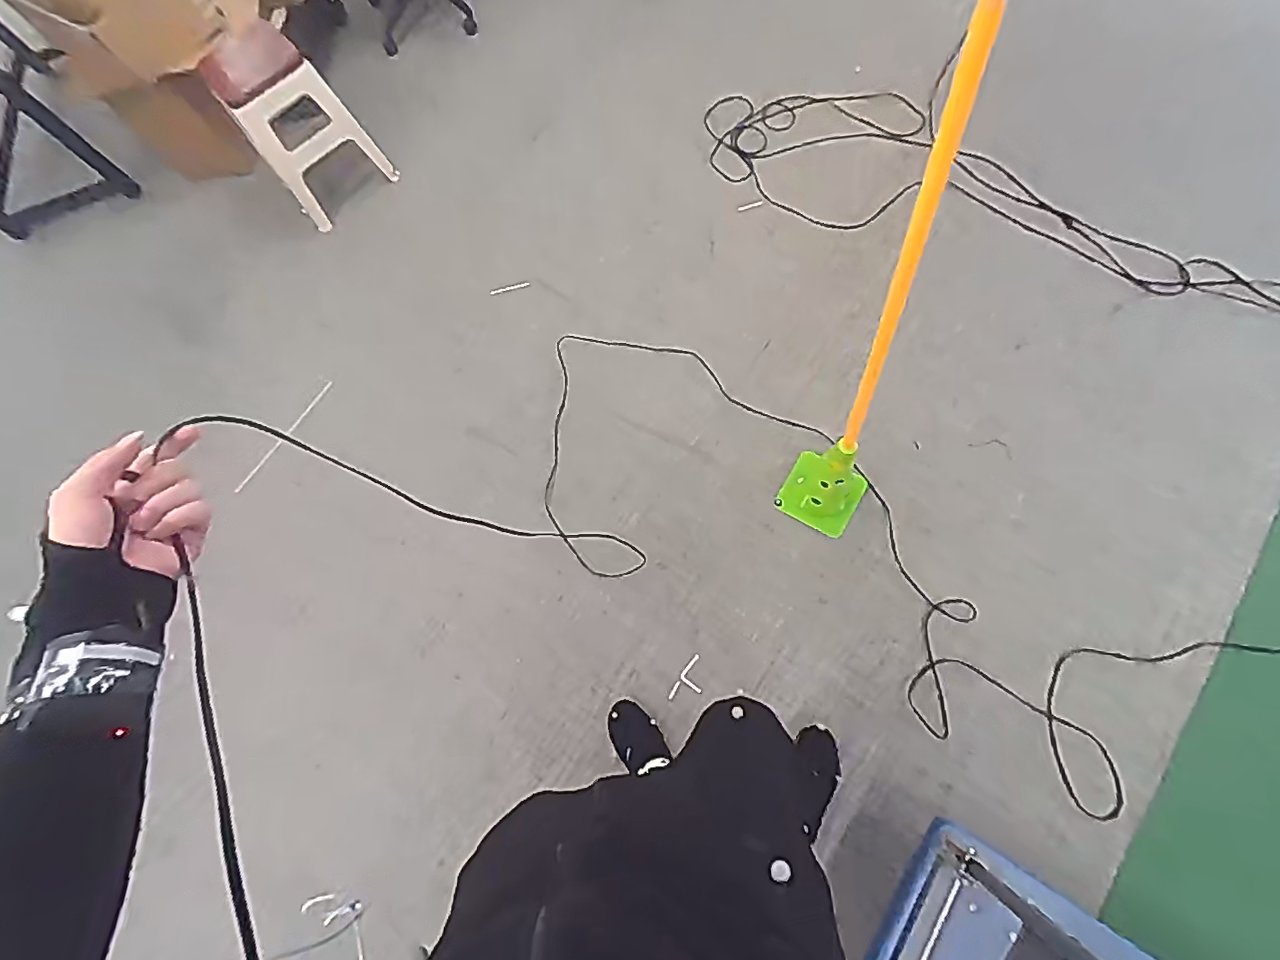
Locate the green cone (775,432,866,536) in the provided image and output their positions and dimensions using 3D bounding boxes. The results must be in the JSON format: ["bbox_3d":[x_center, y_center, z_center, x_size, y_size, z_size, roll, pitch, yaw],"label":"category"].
[{"bbox_3d":[0.481,-0.022,1.345,0.200,0.368,0.202,28,76,16],"label":"green cone"}]
